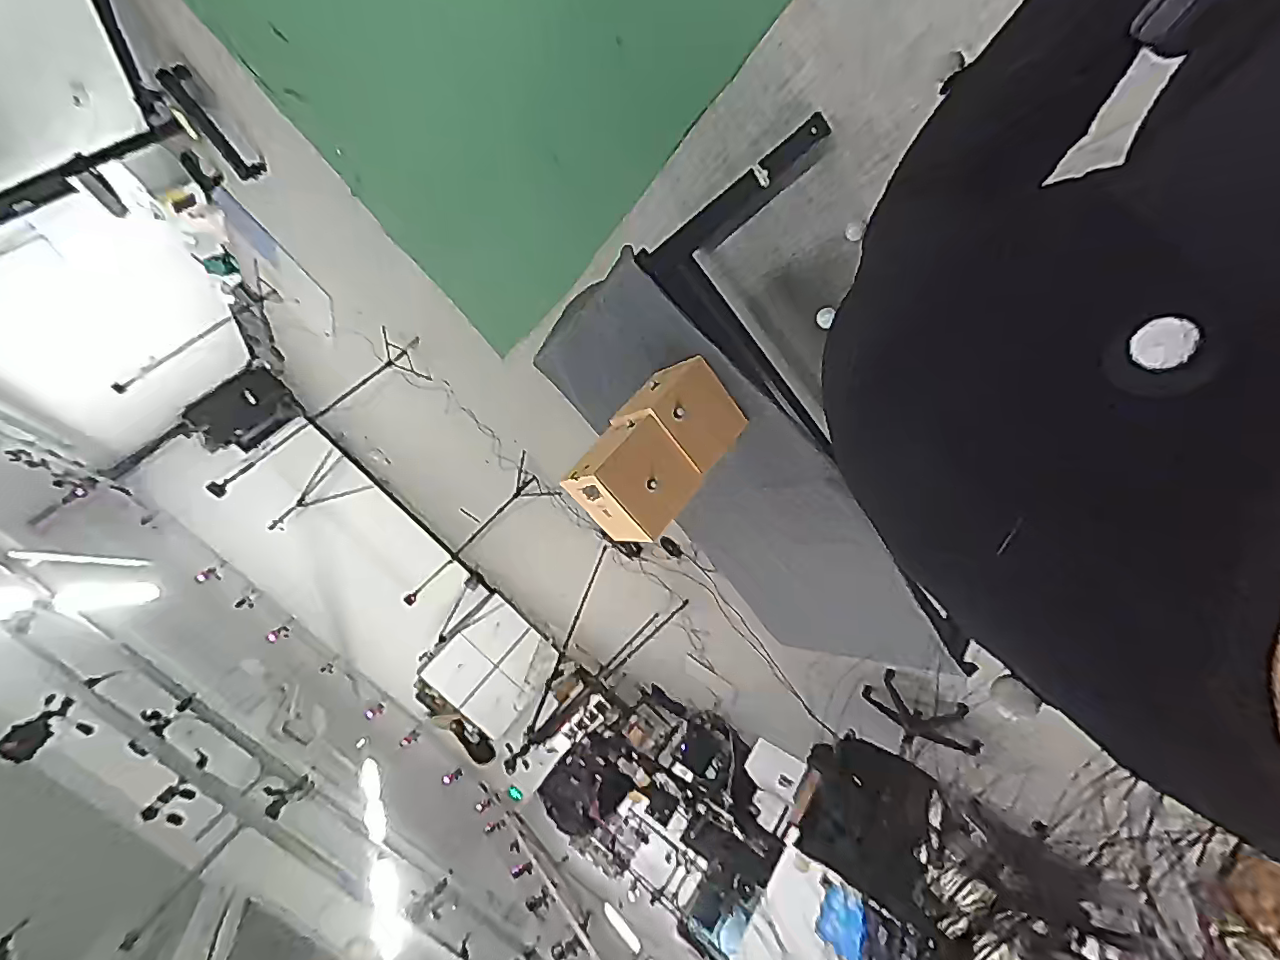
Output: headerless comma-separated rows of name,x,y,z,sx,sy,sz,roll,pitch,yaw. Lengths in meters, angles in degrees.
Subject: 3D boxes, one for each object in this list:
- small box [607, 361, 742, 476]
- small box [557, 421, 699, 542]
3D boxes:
small box,0.072,-0.123,1.103,0.179,0.176,0.168,49,154,-19
small box,-0.022,0.001,1.049,0.179,0.176,0.168,48,154,-18
